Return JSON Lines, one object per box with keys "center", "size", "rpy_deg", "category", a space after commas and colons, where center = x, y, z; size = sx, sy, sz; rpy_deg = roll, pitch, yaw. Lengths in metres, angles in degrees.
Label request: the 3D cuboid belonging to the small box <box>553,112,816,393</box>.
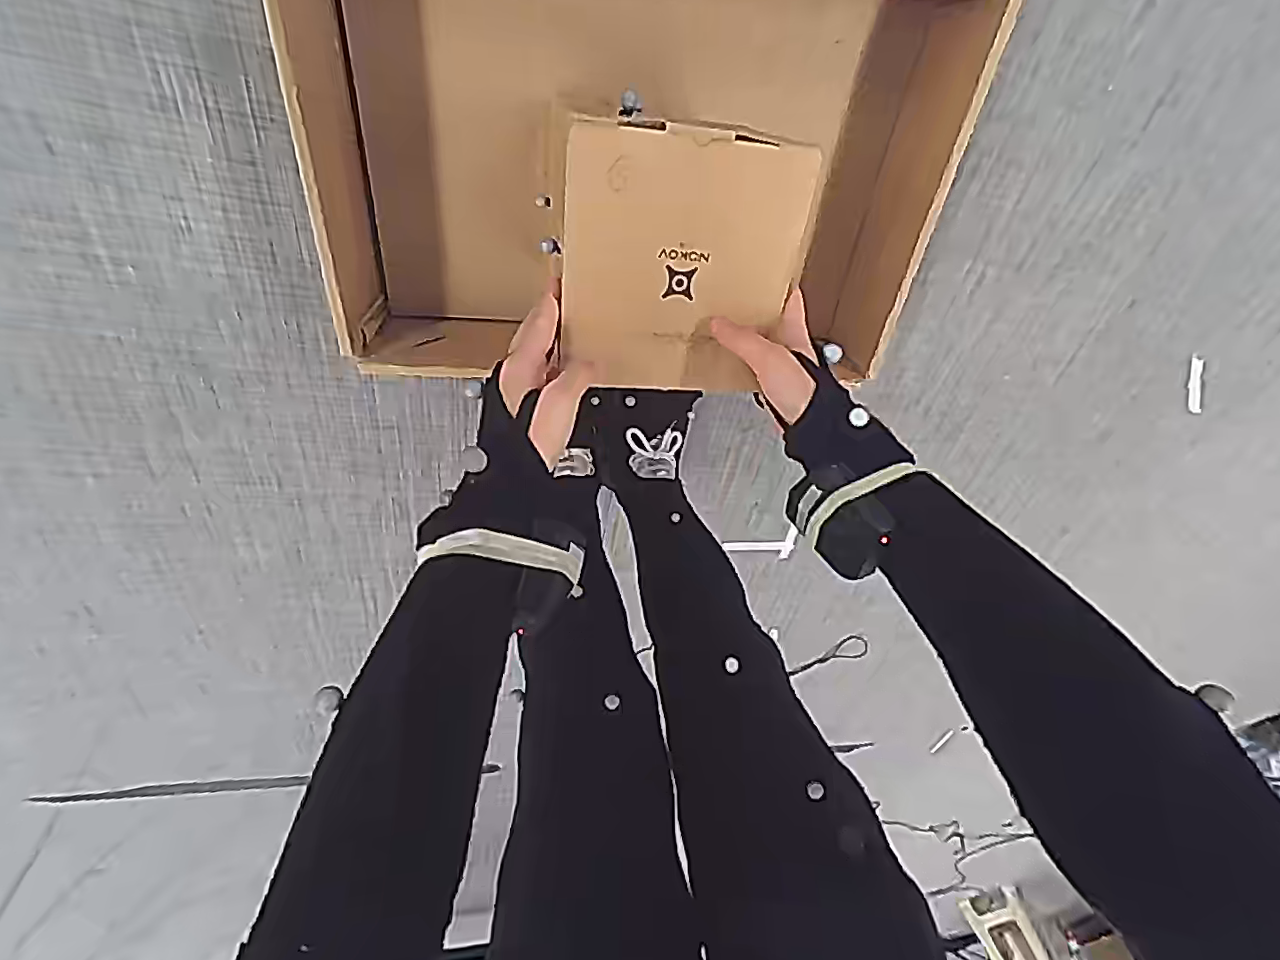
{"center": [0.015, -0.190, 0.449], "size": [0.168, 0.176, 0.179], "rpy_deg": [0, 127, -11], "category": "small box"}
